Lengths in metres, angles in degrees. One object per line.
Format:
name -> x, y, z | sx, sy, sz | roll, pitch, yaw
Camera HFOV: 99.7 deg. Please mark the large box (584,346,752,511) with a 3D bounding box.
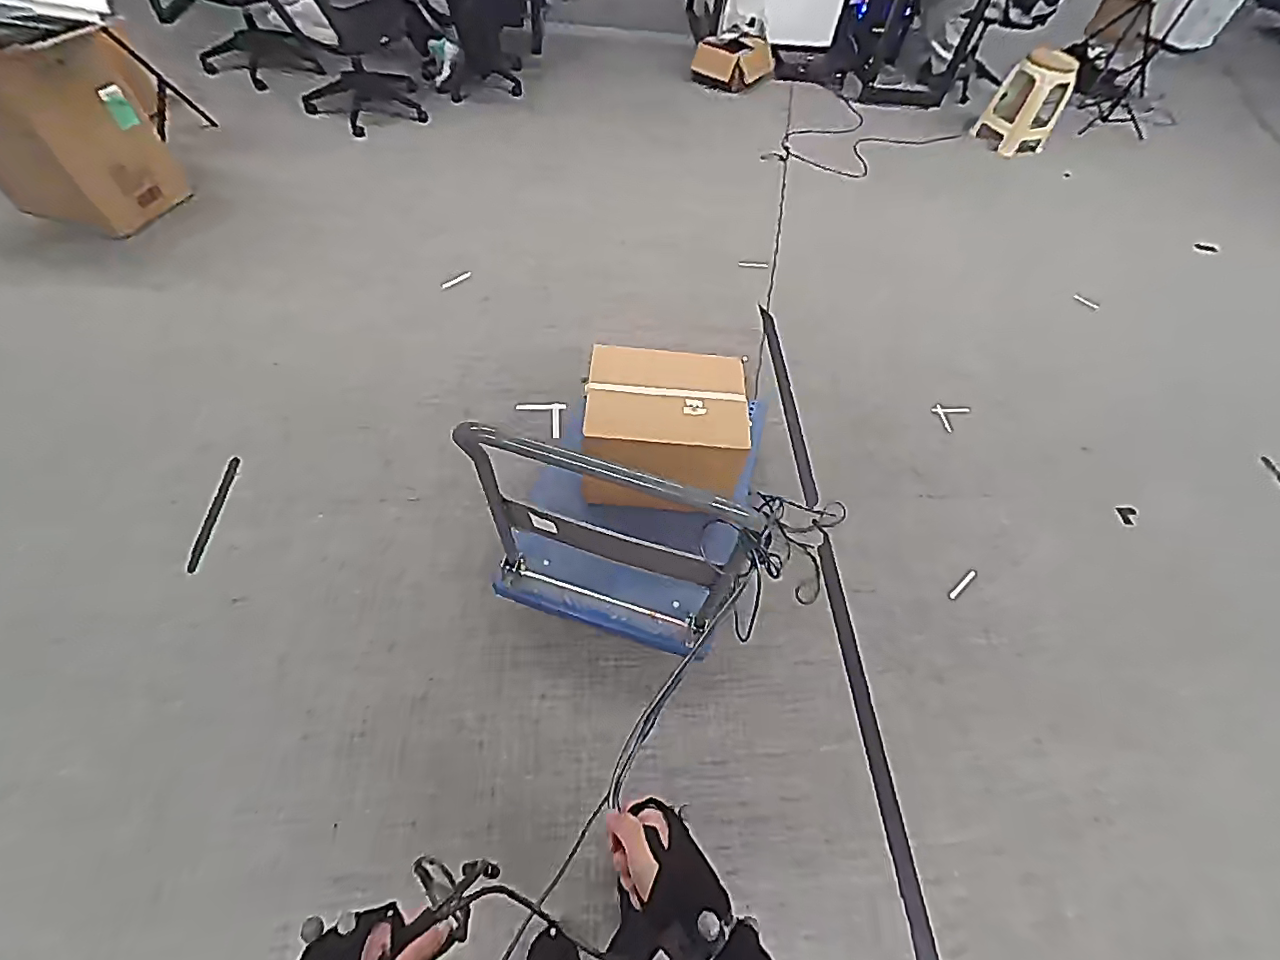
large box -> 0.058, -0.130, 1.472 | 0.408, 0.320, 0.320 | 5, 57, -3
